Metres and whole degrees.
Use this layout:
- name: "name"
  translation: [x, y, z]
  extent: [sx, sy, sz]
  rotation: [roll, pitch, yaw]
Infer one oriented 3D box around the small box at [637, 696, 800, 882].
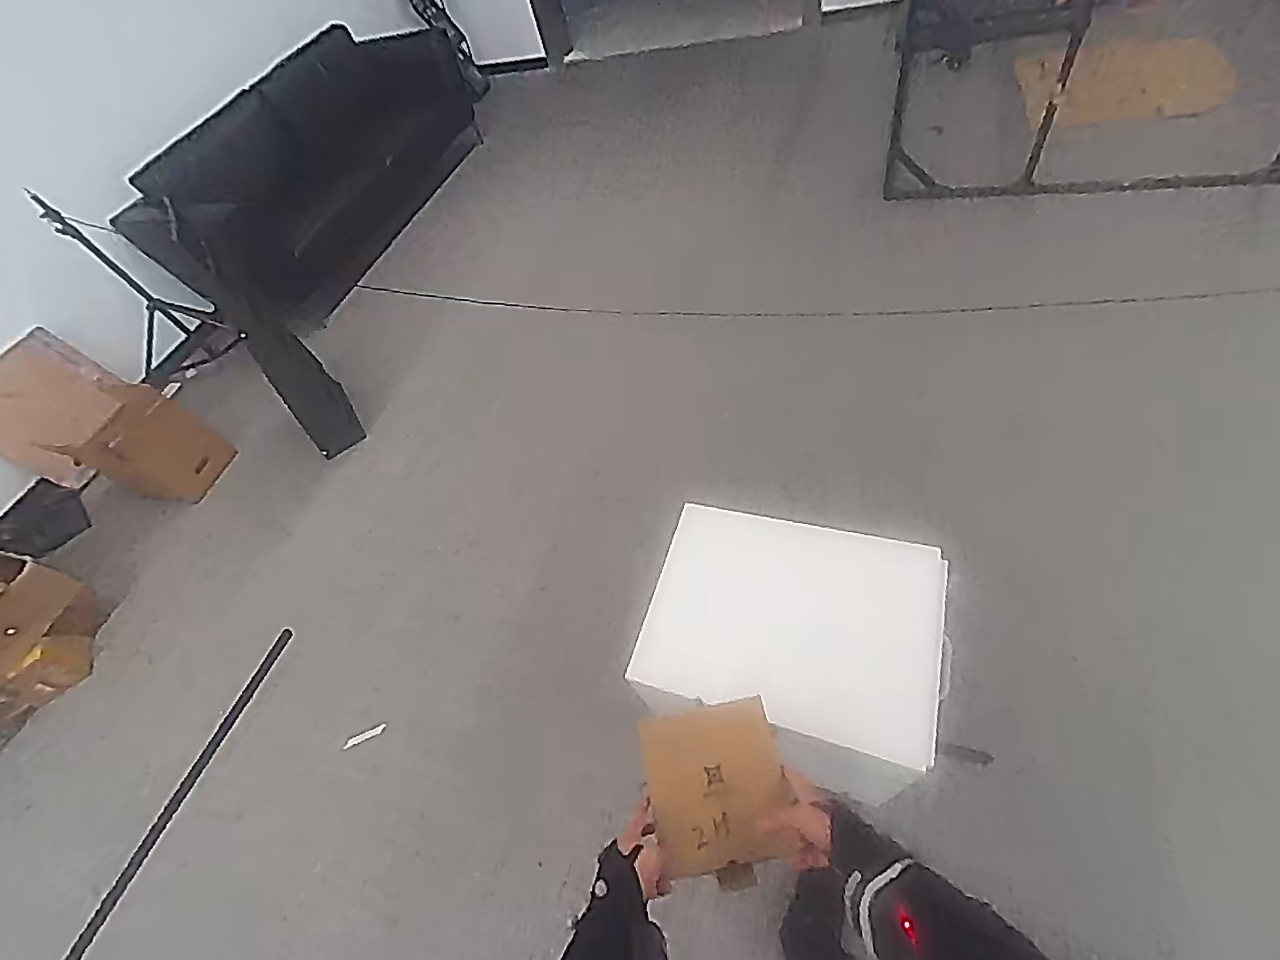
- name: "small box"
  translation: [0.093, 0.401, 0.724]
  extent: [0.168, 0.176, 0.179]
  rotation: [-12, 66, -1]
